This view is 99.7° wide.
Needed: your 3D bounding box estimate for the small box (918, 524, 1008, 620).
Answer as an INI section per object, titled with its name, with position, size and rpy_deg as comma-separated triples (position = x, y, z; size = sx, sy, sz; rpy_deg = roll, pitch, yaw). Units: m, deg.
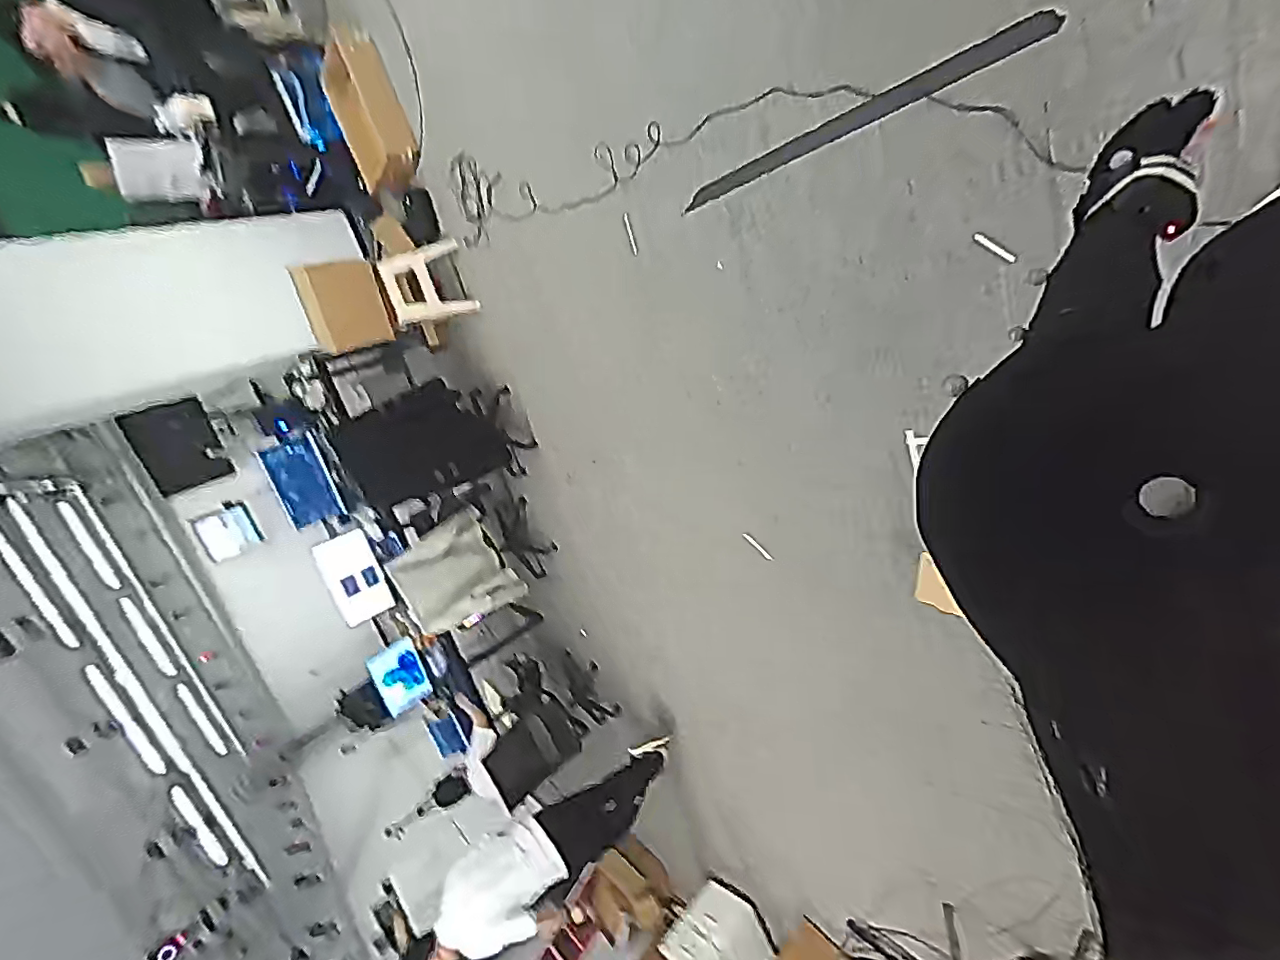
[small box]
position = 0.920, 0.256, 1.542
size = 0.168, 0.176, 0.179
rpy_deg = 20, 129, 43
